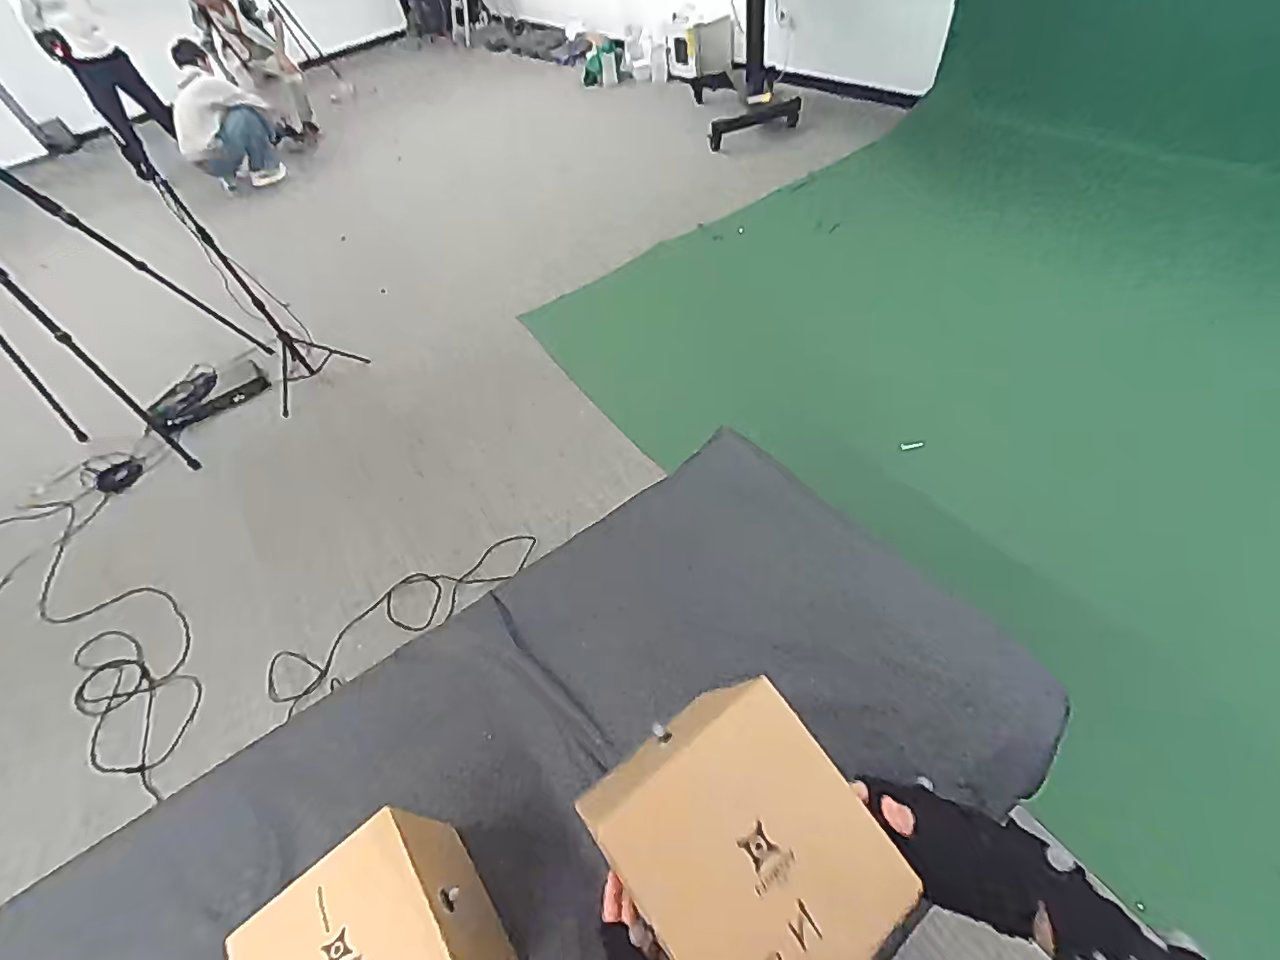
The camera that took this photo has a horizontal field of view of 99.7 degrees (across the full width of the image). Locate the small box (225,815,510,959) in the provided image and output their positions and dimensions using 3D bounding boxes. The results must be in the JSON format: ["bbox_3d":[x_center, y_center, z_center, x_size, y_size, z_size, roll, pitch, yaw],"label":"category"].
[{"bbox_3d":[-0.251,0.474,0.531,0.168,0.176,0.179,-36,53,-19],"label":"small box"}]

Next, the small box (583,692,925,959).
[{"bbox_3d":[0.068,0.299,0.430,0.168,0.176,0.179,-31,74,-22],"label":"small box"}]
